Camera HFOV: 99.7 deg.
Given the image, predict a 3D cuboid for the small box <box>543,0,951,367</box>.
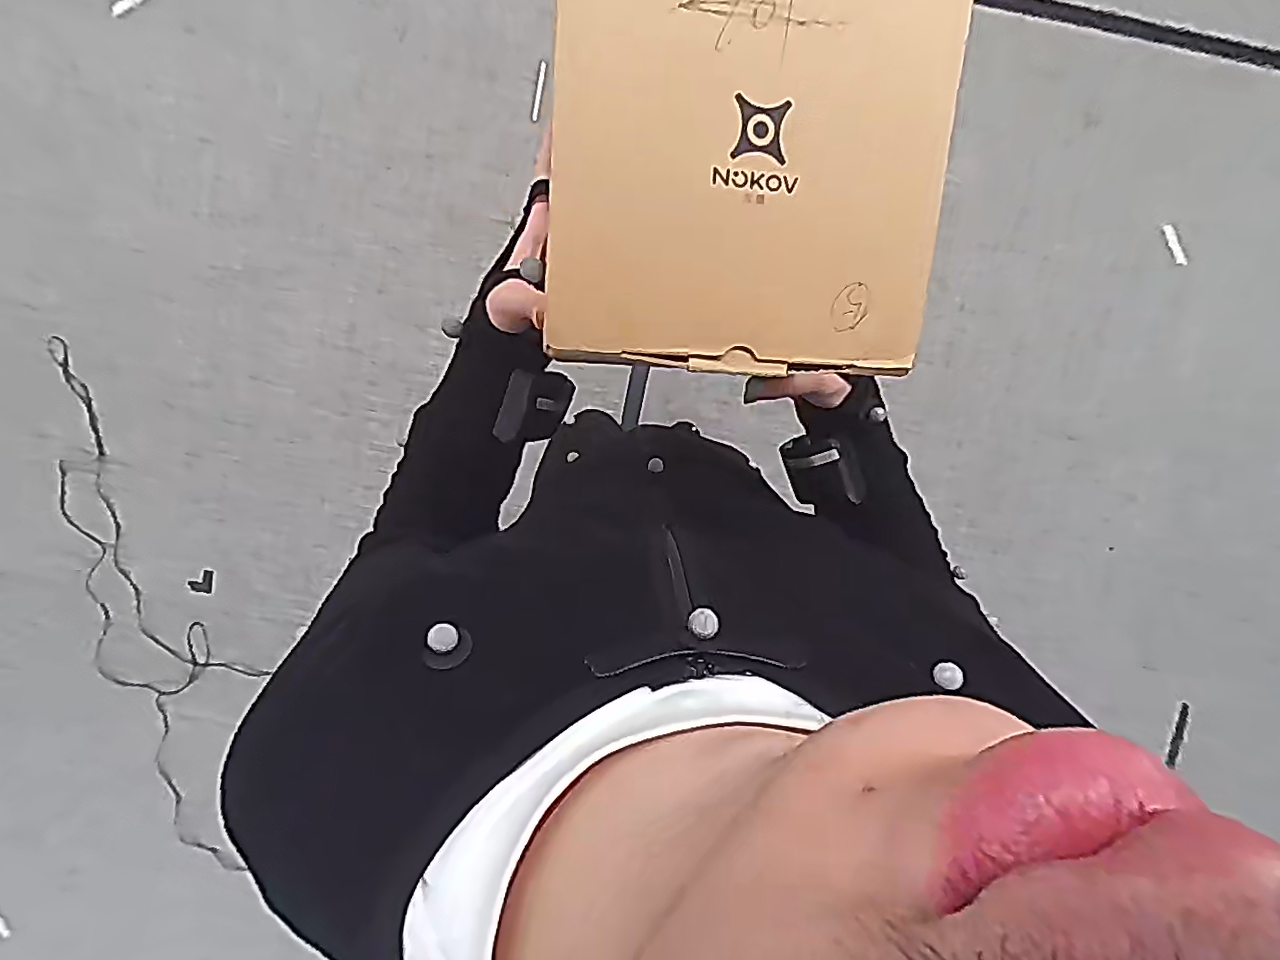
[{"bbox_3d":[0.033,-0.157,0.304,0.168,0.176,0.179,1,101,-10],"label":"small box"}]
